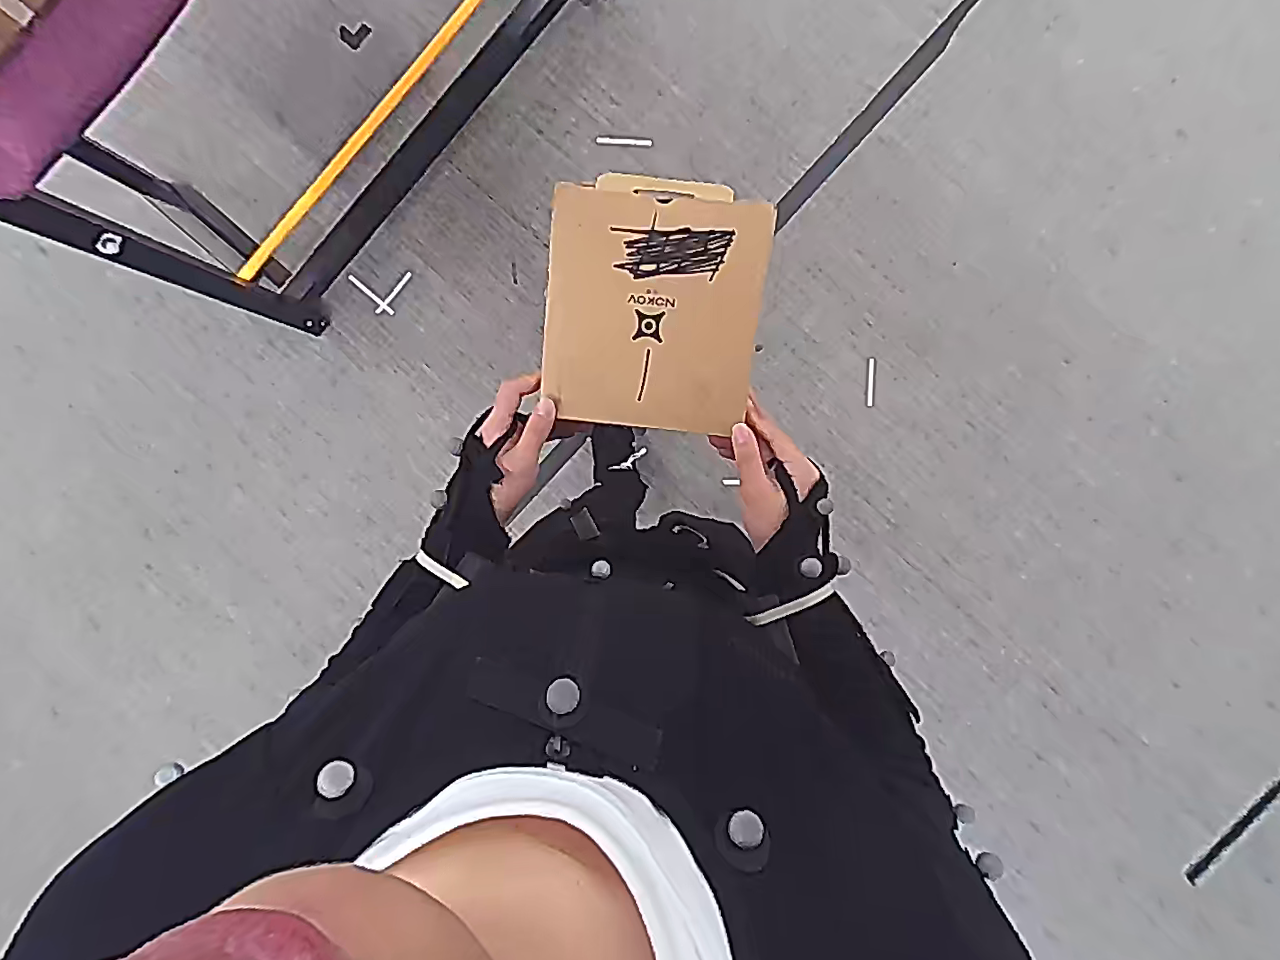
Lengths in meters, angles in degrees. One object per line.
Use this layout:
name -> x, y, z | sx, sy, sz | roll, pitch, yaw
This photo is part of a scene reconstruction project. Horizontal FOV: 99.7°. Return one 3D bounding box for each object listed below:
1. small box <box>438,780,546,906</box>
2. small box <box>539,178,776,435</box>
small box -> -0.338, 0.835, 1.253 | 0.179, 0.176, 0.168 | -21, 76, -7
small box -> 0.014, -0.143, 0.492 | 0.168, 0.176, 0.179 | 7, 100, 3
